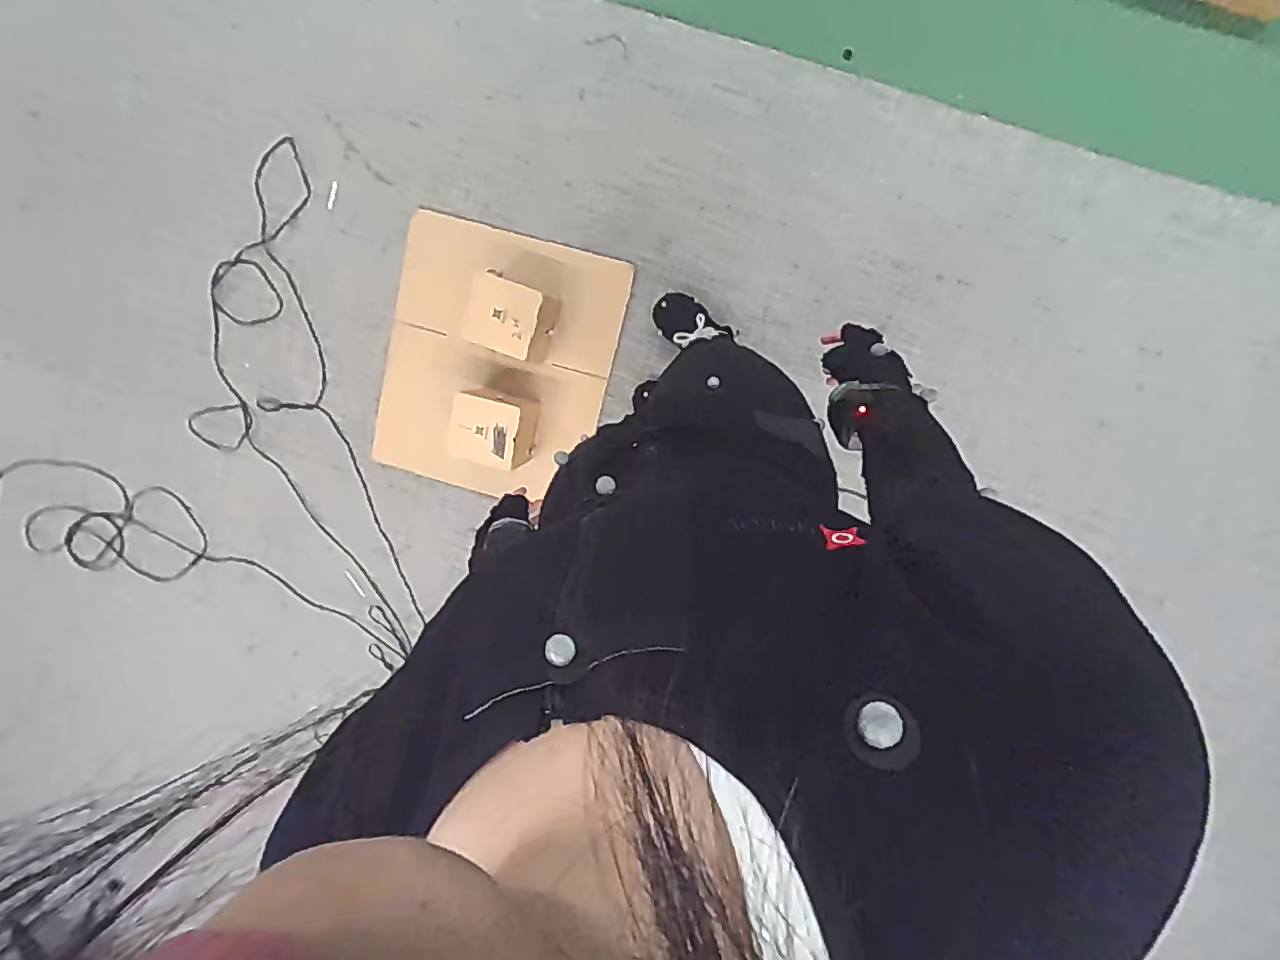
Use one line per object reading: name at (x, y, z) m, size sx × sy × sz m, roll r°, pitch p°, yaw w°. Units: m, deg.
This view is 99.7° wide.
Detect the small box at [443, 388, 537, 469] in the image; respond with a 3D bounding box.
small box at (-0.382, -0.141, 1.401) m, size 0.179 × 0.176 × 0.168 m, roll 14°, pitch 103°, yaw 3°

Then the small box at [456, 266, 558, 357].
small box at (-0.325, -0.409, 1.344) m, size 0.179 × 0.176 × 0.168 m, roll 20°, pitch 104°, yaw 1°
